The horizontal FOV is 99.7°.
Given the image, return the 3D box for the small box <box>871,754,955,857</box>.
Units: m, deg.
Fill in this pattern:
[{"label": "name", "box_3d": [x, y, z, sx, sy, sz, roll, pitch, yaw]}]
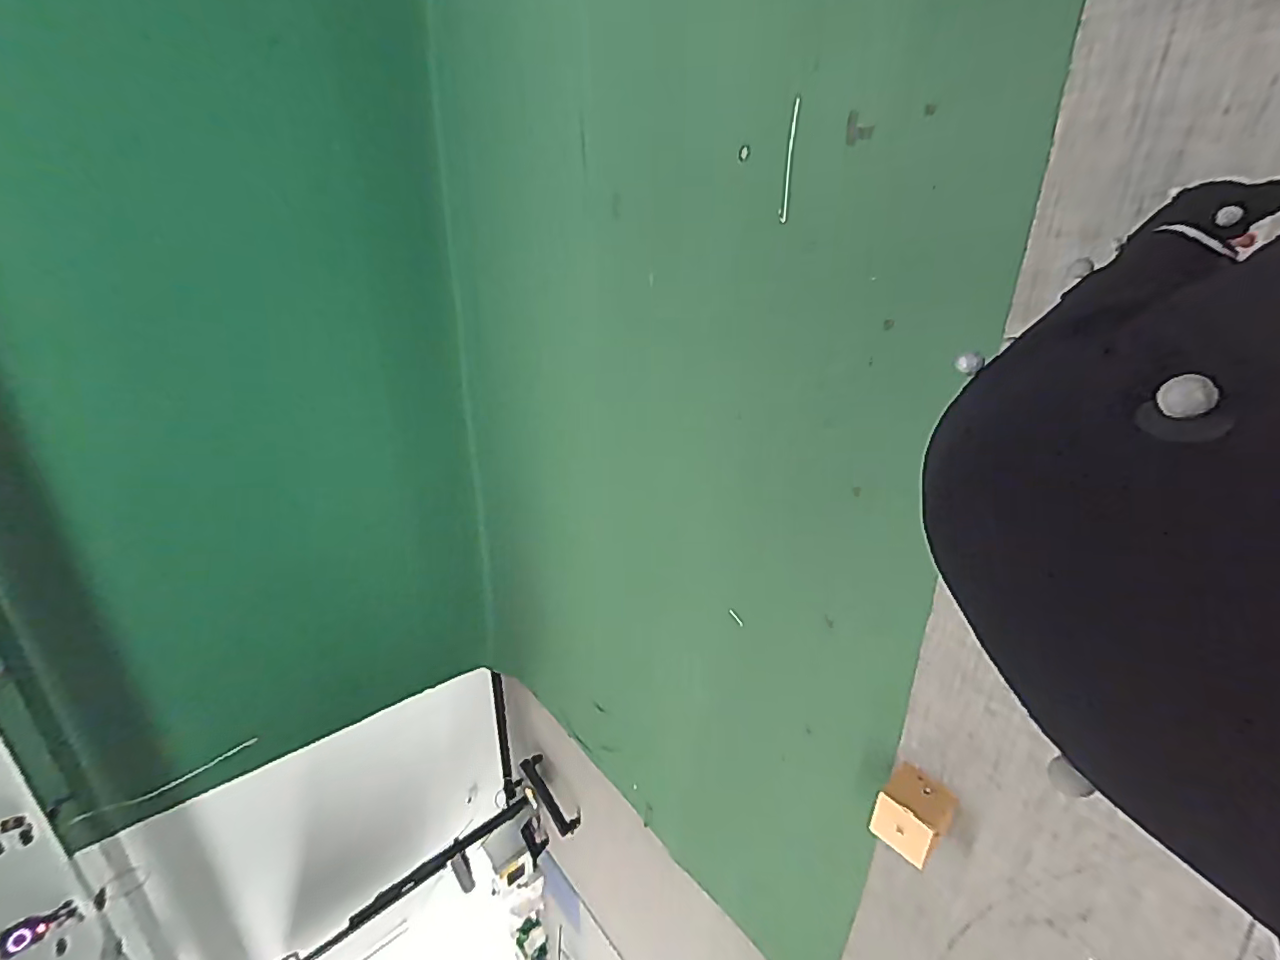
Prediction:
[{"label": "small box", "box_3d": [0.854, 1.009, 1.688, 0.168, 0.176, 0.179, 25, 121, 43]}]
